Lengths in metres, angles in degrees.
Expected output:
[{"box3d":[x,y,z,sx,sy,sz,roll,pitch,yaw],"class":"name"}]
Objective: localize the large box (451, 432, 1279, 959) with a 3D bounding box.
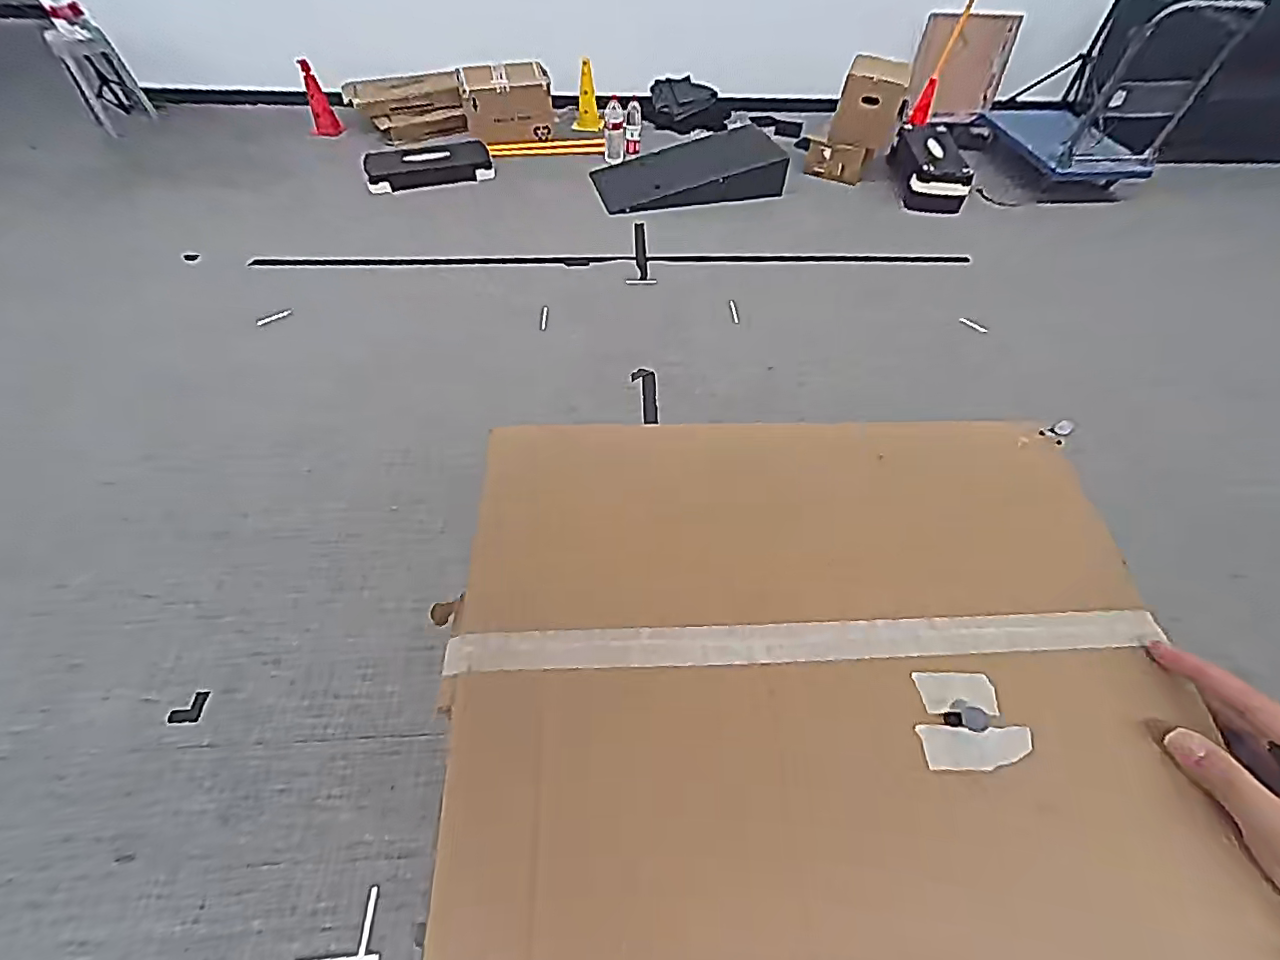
[{"box3d":[0.095,0.176,0.448,0.408,0.320,0.320,-1,59,-4],"class":"large box"}]
